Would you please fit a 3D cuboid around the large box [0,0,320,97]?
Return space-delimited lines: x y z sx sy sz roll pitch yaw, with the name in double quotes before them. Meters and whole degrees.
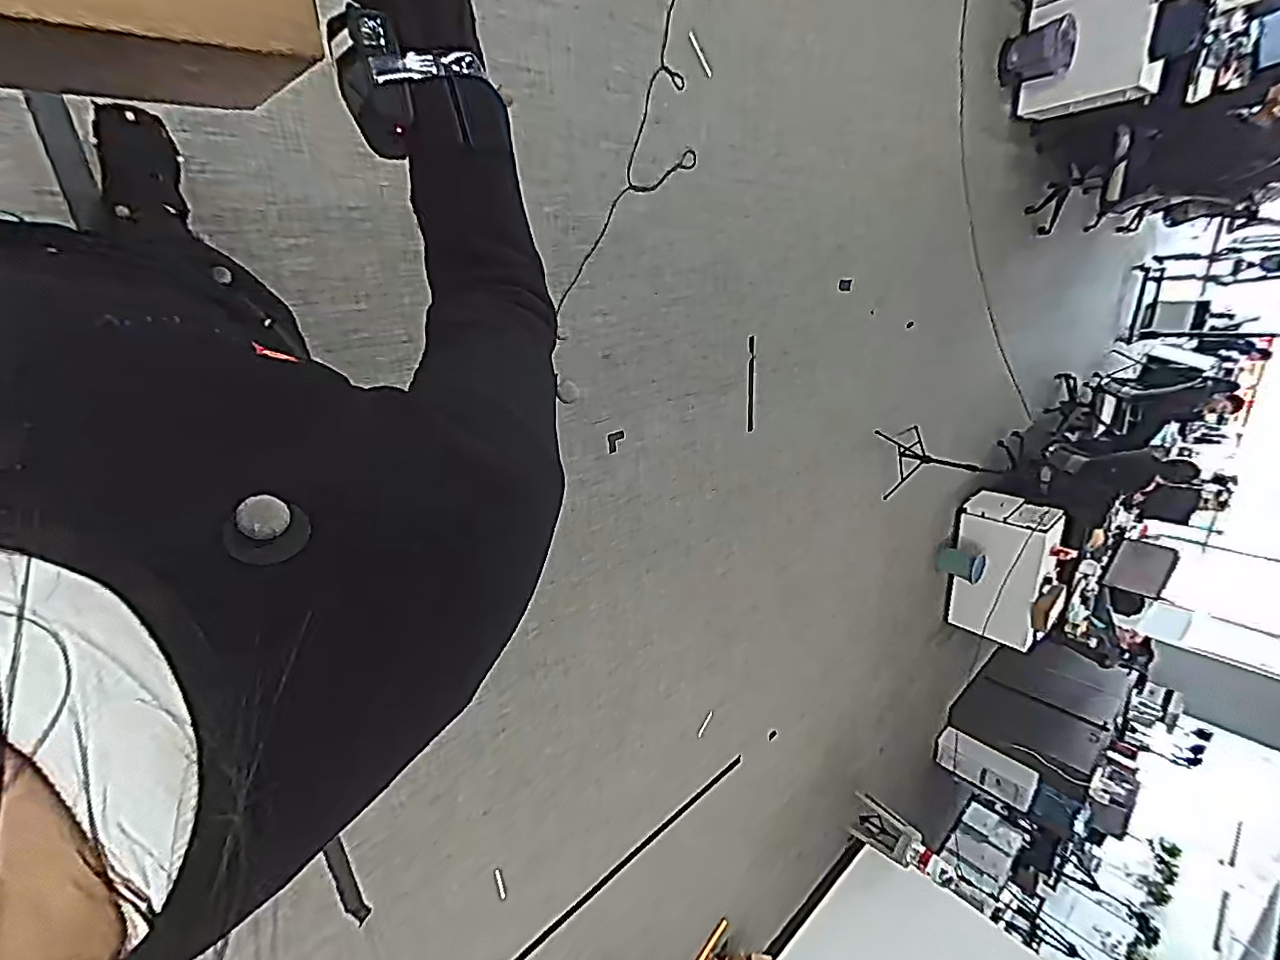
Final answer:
"large box" -0.443 -0.394 0.251 0.408 0.320 0.320 -21 126 -35
